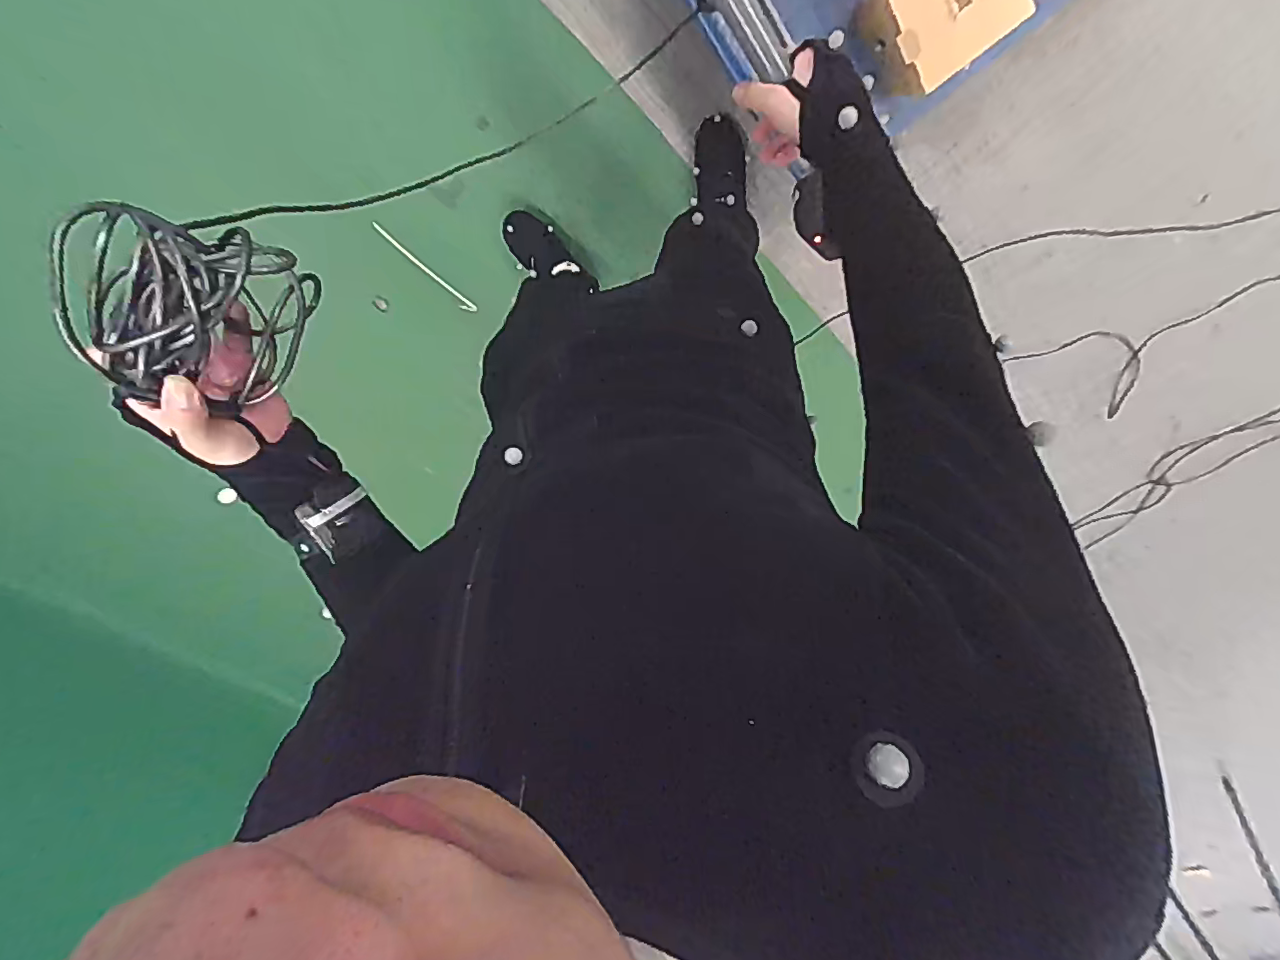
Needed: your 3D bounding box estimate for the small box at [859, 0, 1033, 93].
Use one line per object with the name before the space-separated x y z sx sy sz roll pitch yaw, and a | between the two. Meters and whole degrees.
small box | 0.497 -0.788 0.898 0.179 0.176 0.168 -31 119 25
